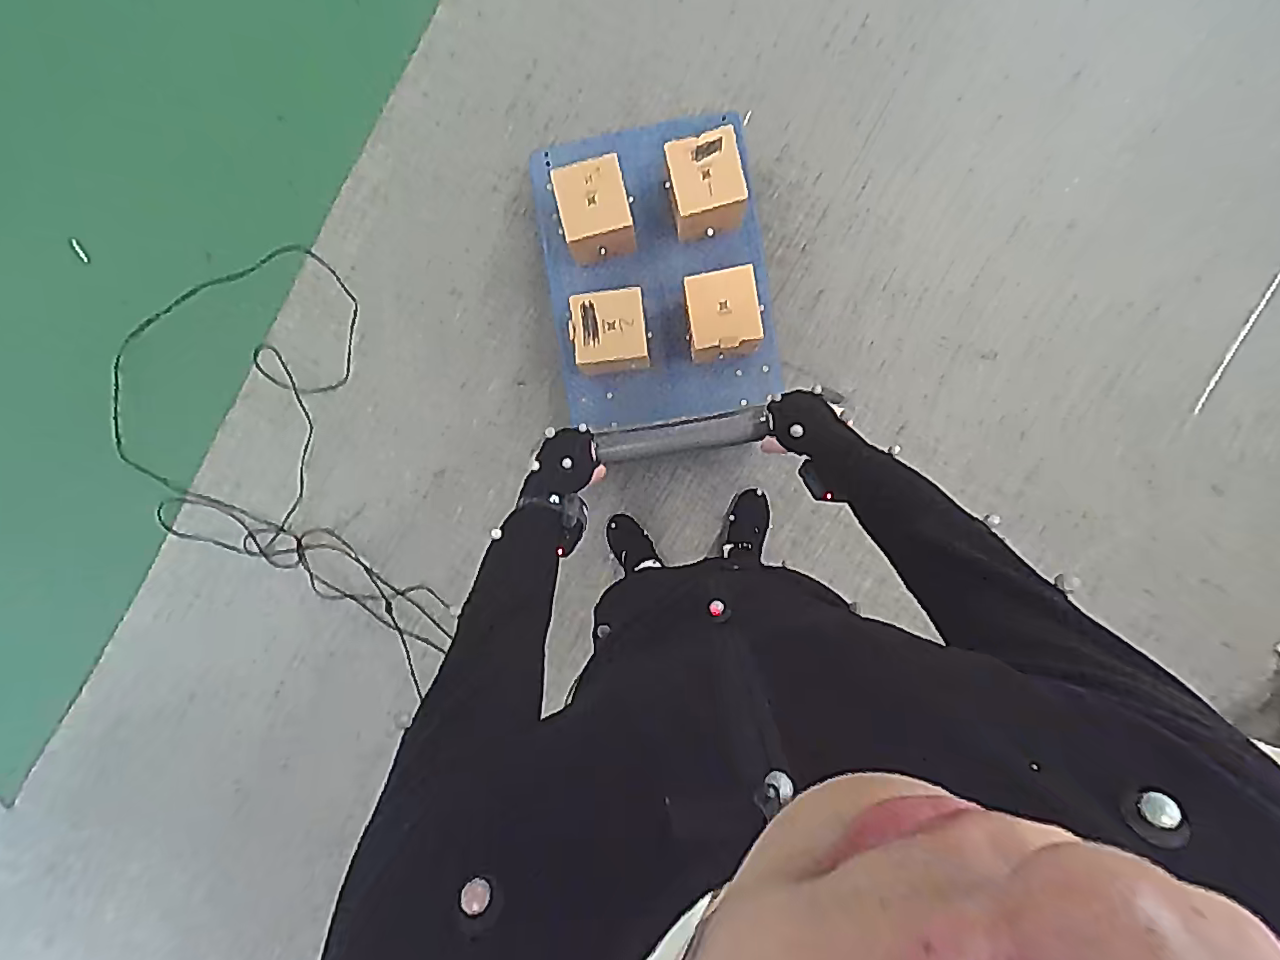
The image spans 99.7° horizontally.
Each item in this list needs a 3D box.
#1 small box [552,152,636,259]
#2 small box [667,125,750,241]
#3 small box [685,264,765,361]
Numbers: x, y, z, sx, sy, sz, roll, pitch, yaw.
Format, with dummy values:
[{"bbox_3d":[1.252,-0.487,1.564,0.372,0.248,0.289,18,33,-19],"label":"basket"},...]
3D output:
[{"bbox_3d":[-0.108,-0.672,1.351,0.168,0.176,0.179,-13,92,3],"label":"small box"},{"bbox_3d":[0.163,-0.724,1.333,0.168,0.176,0.179,-13,92,4],"label":"small box"},{"bbox_3d":[0.205,-0.408,1.343,0.168,0.176,0.179,-9,92,4],"label":"small box"}]
